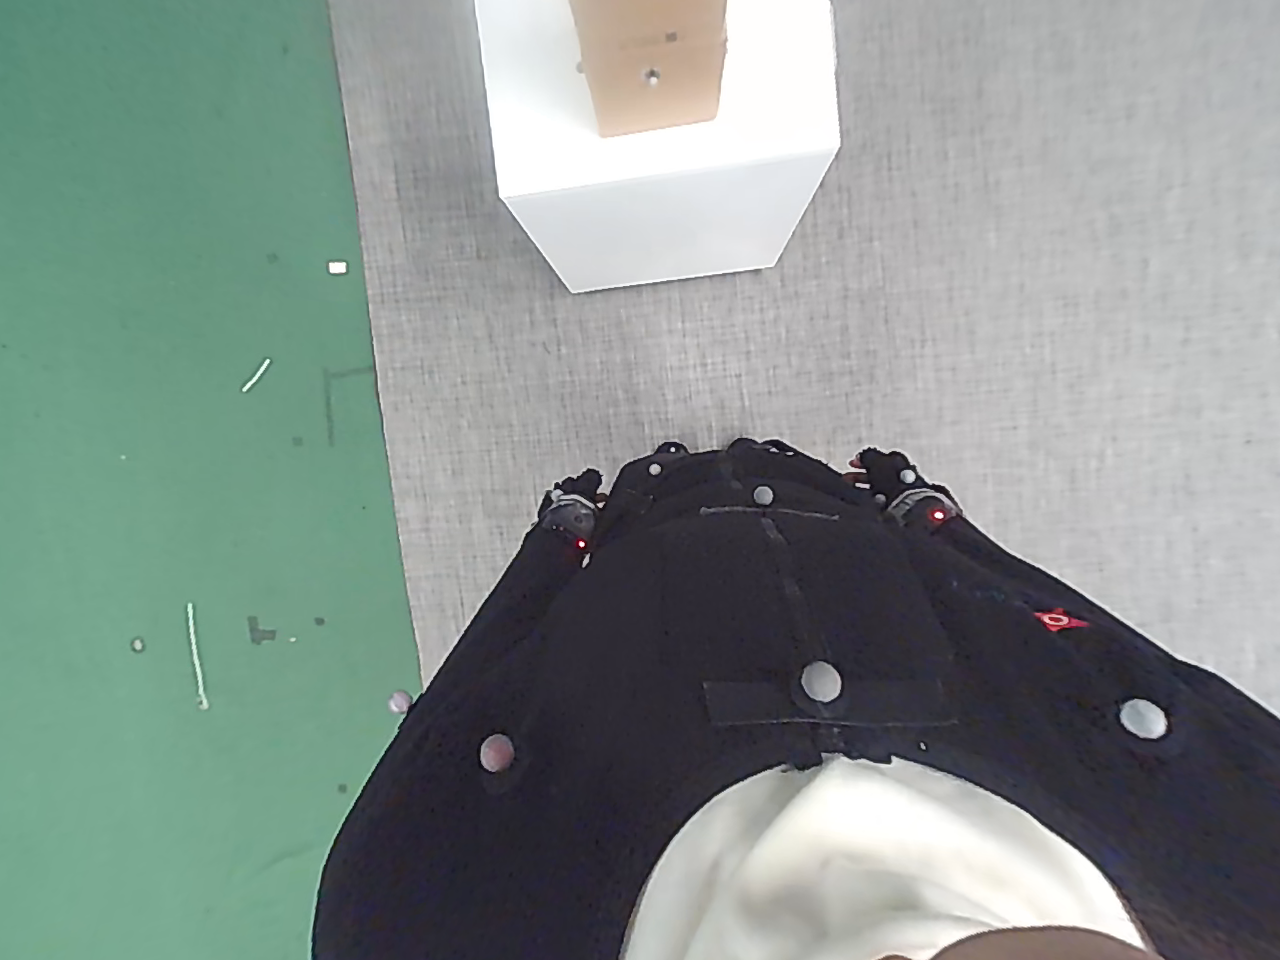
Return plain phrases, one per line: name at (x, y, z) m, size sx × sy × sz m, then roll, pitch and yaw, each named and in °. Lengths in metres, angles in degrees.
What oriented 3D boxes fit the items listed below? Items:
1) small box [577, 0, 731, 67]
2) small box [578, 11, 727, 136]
small box at (0.006, -0.581, 0.557) m, size 0.168 × 0.176 × 0.179 m, roll -7°, pitch 95°, yaw 4°
small box at (0.016, -0.590, 0.718) m, size 0.179 × 0.176 × 0.168 m, roll -6°, pitch 94°, yaw 4°
